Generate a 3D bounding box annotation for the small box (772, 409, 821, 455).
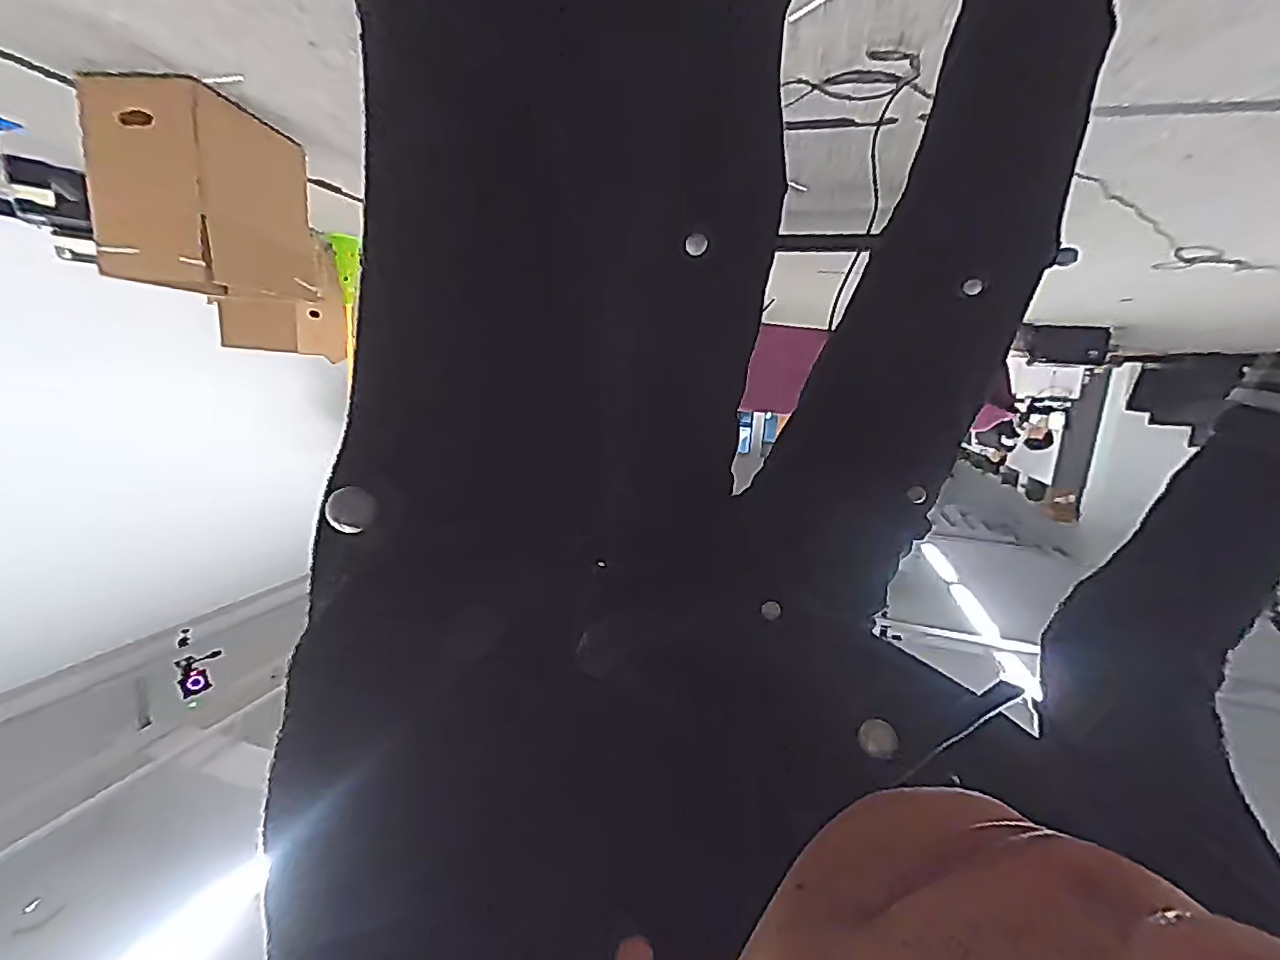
[{"bbox_3d":[0.649,-0.203,2.239,0.168,0.176,0.179,9,-167,23],"label":"small box"}]
